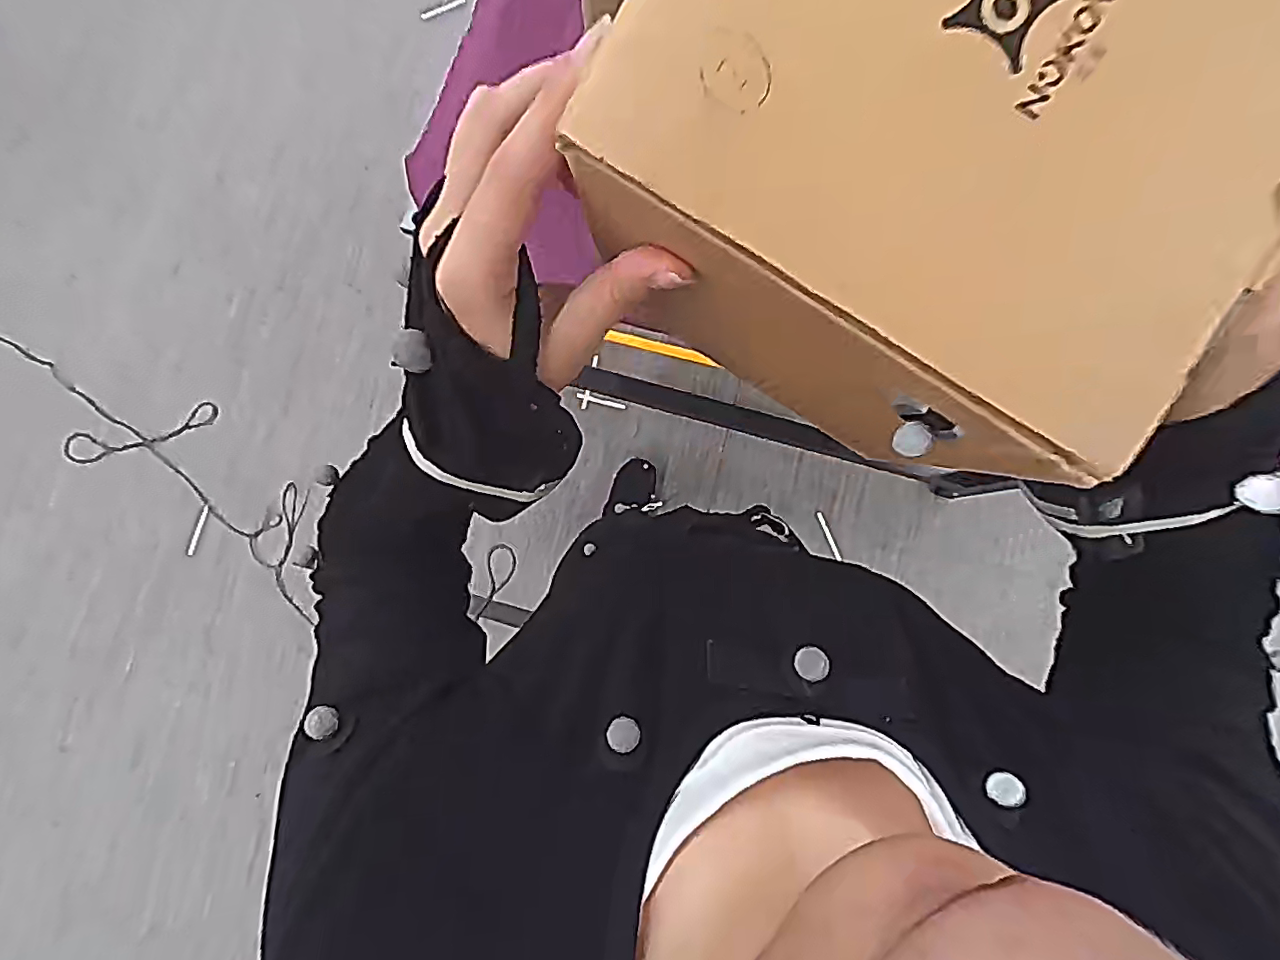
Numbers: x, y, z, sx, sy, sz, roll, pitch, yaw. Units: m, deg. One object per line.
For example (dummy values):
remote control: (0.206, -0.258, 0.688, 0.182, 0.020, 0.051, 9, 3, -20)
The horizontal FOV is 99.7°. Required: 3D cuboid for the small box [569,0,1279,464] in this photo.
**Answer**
small box: (0.097, -0.121, 0.212, 0.179, 0.176, 0.168, 31, 96, -2)
